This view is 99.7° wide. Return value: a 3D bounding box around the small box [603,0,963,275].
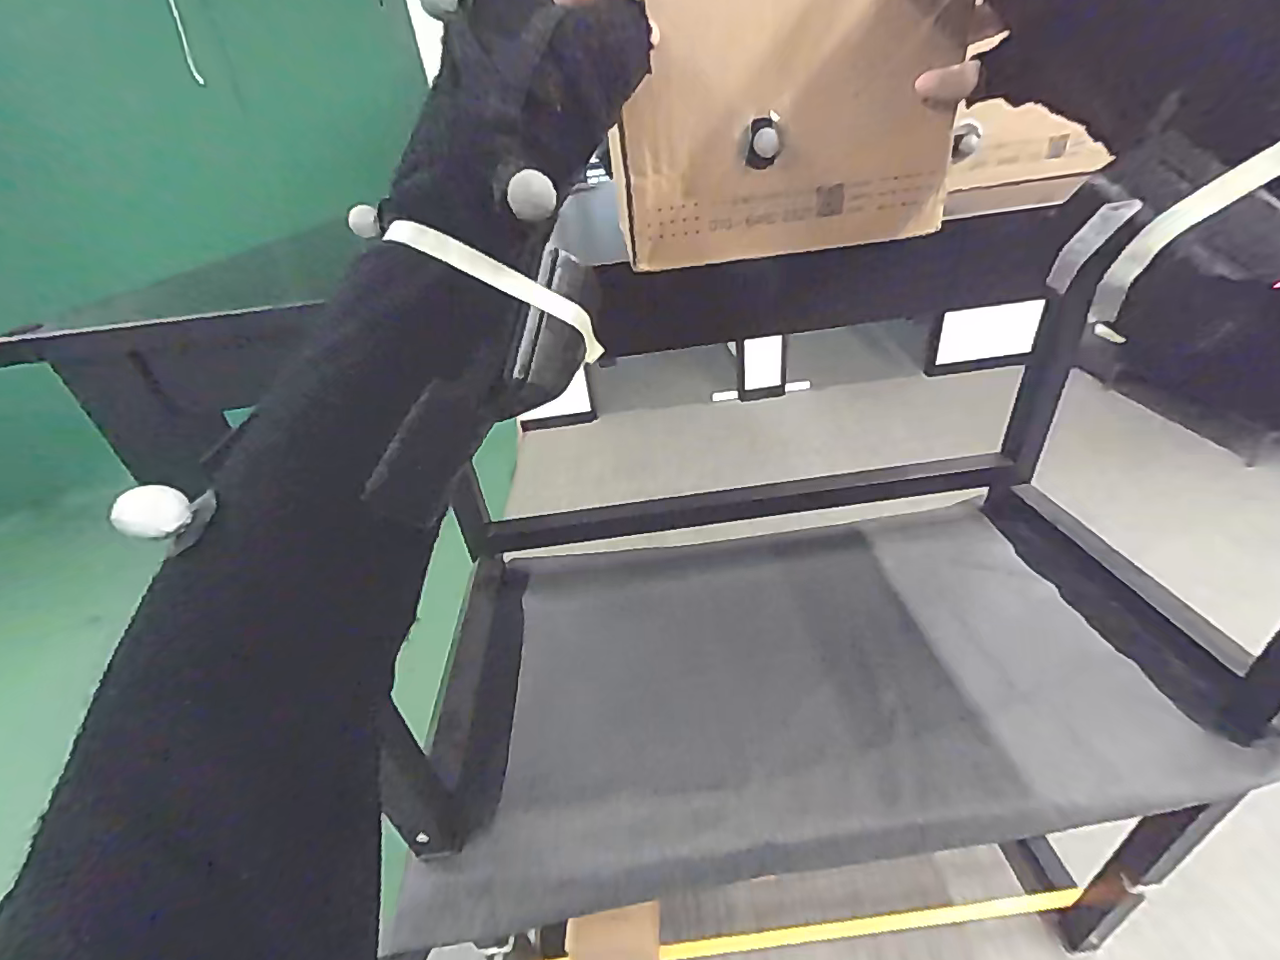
[{"bbox_3d":[0.065,-0.234,0.332,0.168,0.176,0.179,-8,33,0],"label":"small box"}]
